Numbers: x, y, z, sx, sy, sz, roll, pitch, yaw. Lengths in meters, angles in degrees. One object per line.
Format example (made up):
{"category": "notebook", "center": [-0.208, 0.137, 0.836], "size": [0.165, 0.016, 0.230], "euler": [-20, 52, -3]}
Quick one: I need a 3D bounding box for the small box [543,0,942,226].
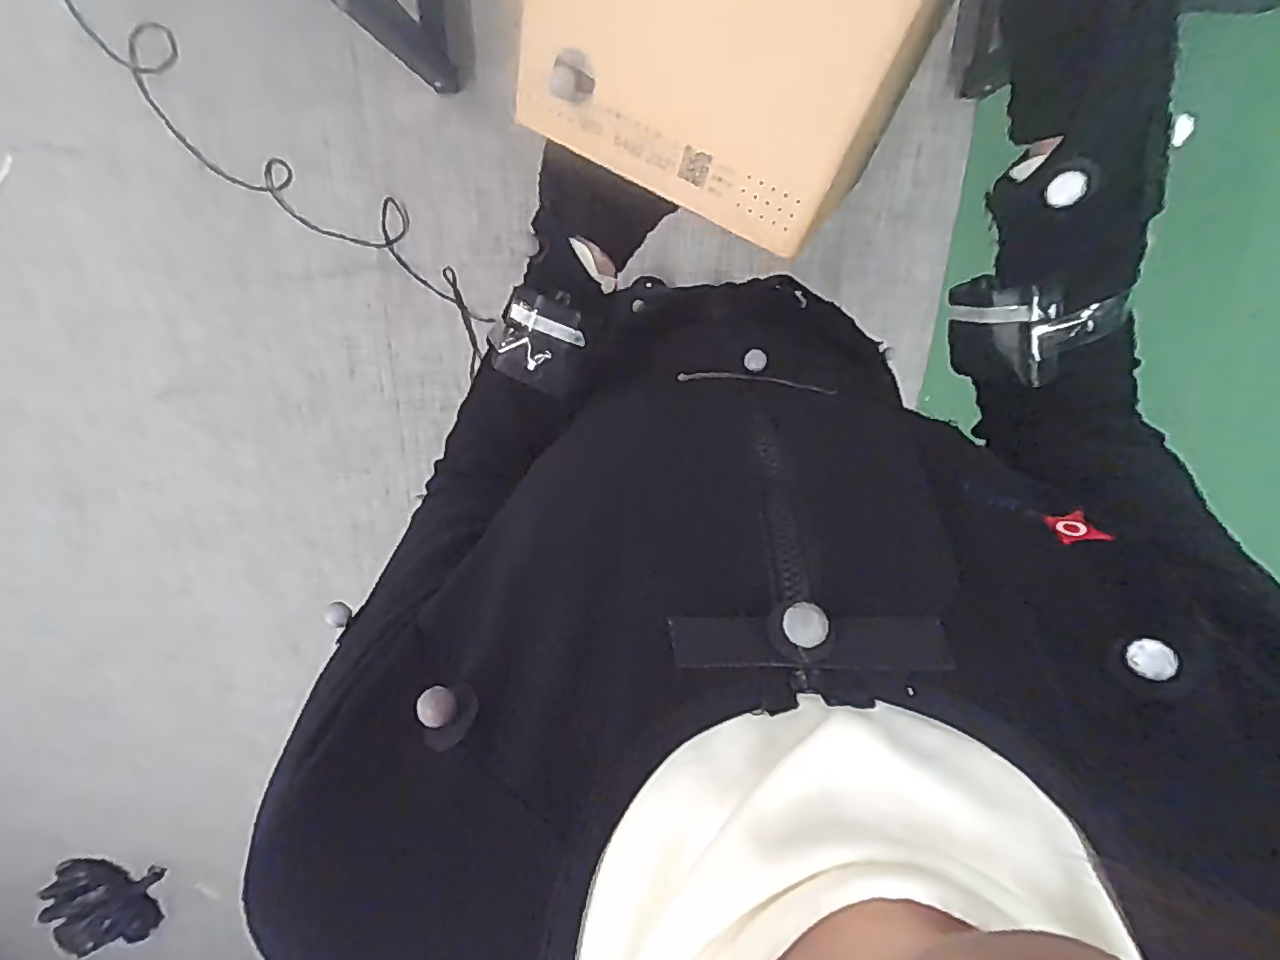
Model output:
{"category": "small box", "center": [0.064, -0.260, 0.281], "size": [0.168, 0.179, 0.176], "euler": [31, 138, 8]}
